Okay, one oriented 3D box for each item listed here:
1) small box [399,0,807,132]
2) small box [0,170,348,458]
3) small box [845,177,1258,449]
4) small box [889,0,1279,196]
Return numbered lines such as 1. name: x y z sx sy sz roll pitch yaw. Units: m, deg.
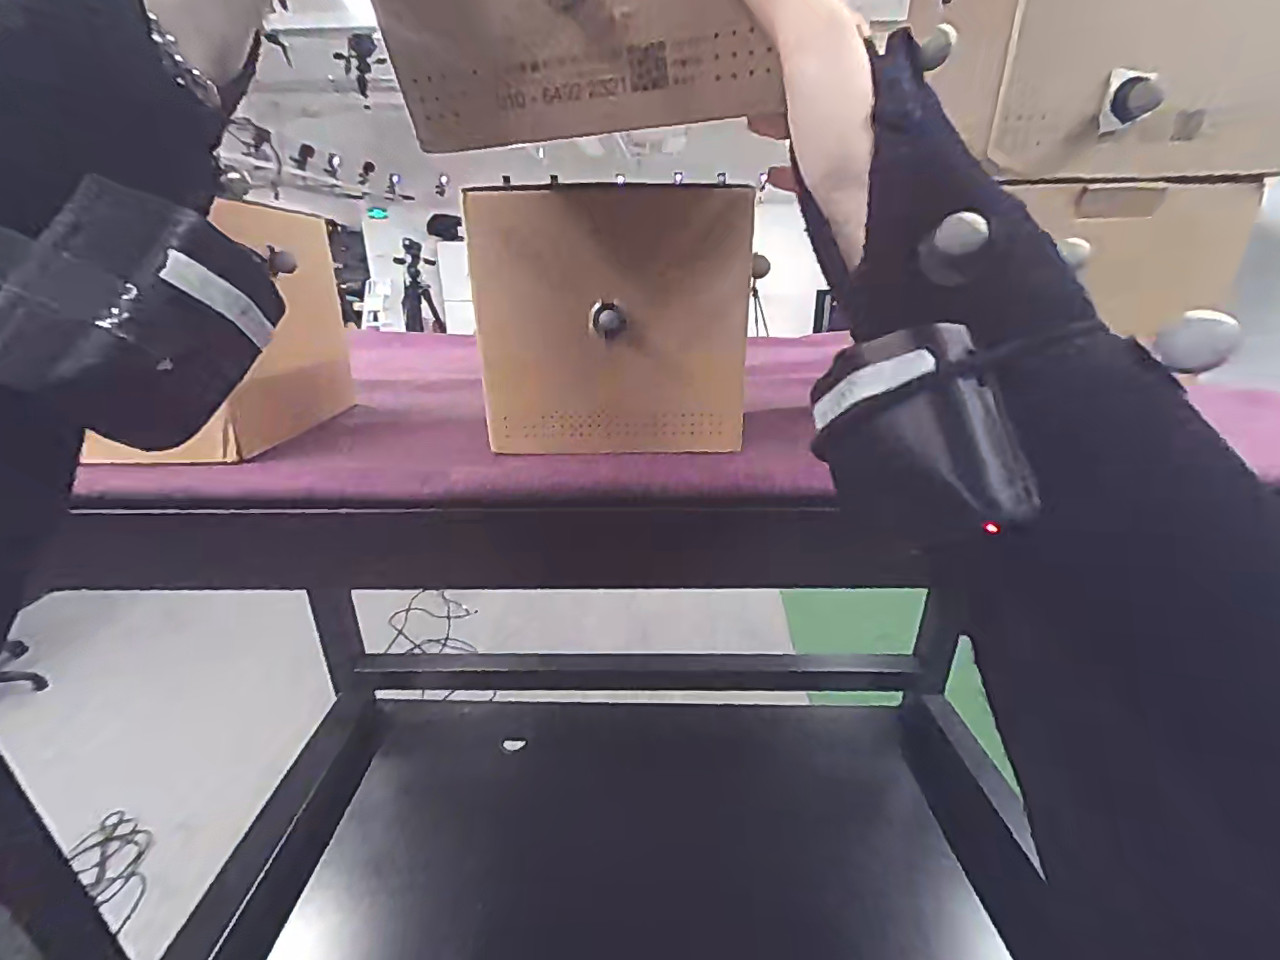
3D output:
1. small box: -0.015 -0.268 0.237 0.168 0.176 0.179 -1 43 9
2. small box: -0.344 -0.122 0.407 0.168 0.176 0.179 0 21 -3
3. small box: 0.273 -0.127 0.415 0.168 0.176 0.179 1 23 2
4. small box: 0.282 -0.277 0.352 0.168 0.176 0.179 0 23 4
